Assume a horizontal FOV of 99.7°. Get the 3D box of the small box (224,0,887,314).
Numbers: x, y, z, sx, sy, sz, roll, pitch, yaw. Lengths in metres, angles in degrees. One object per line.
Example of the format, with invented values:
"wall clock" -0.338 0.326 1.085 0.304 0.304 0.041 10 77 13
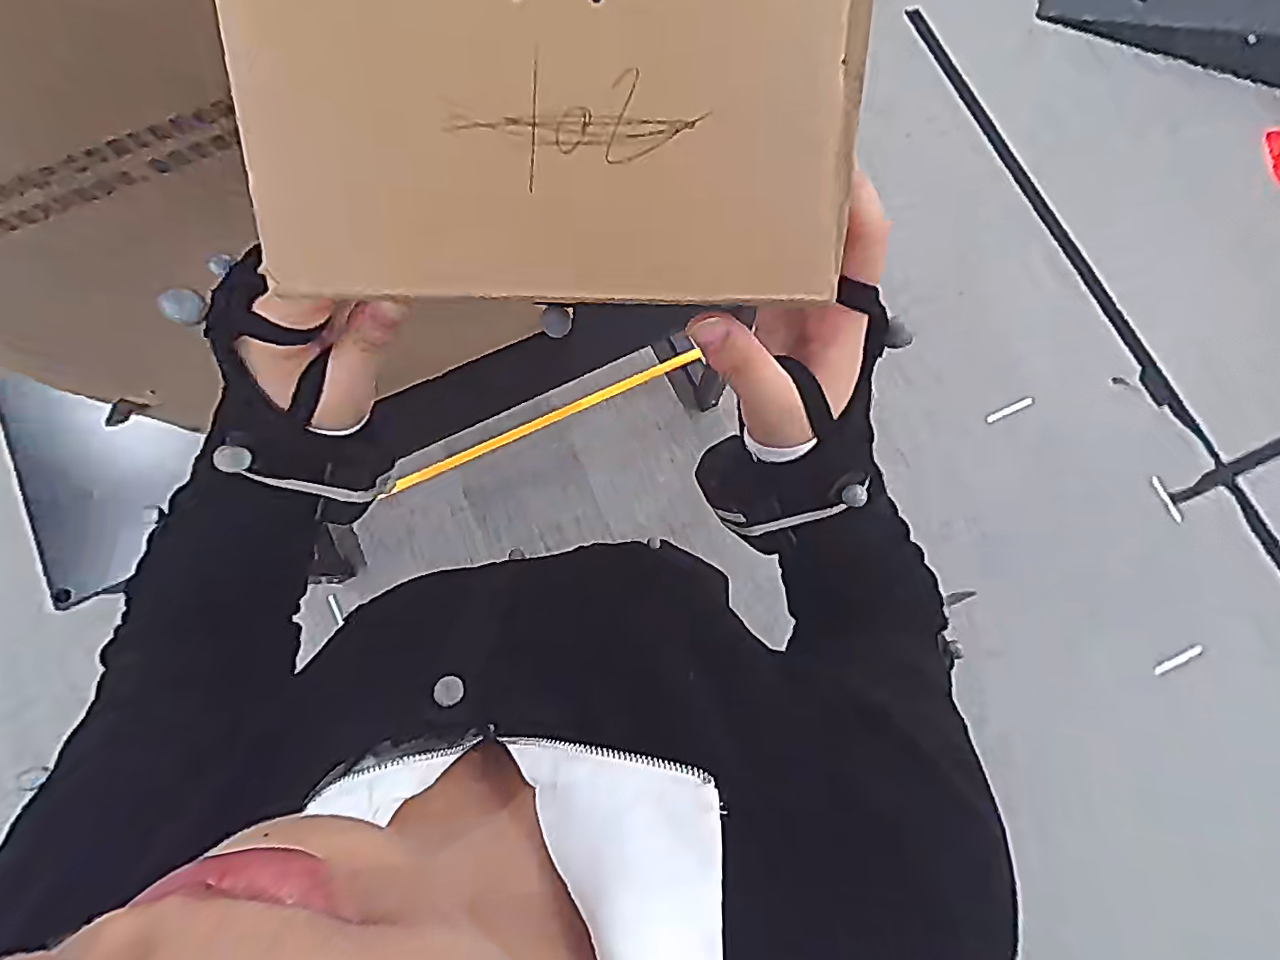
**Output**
"small box" -0.024 -0.157 0.207 0.168 0.176 0.179 -1 109 -4
